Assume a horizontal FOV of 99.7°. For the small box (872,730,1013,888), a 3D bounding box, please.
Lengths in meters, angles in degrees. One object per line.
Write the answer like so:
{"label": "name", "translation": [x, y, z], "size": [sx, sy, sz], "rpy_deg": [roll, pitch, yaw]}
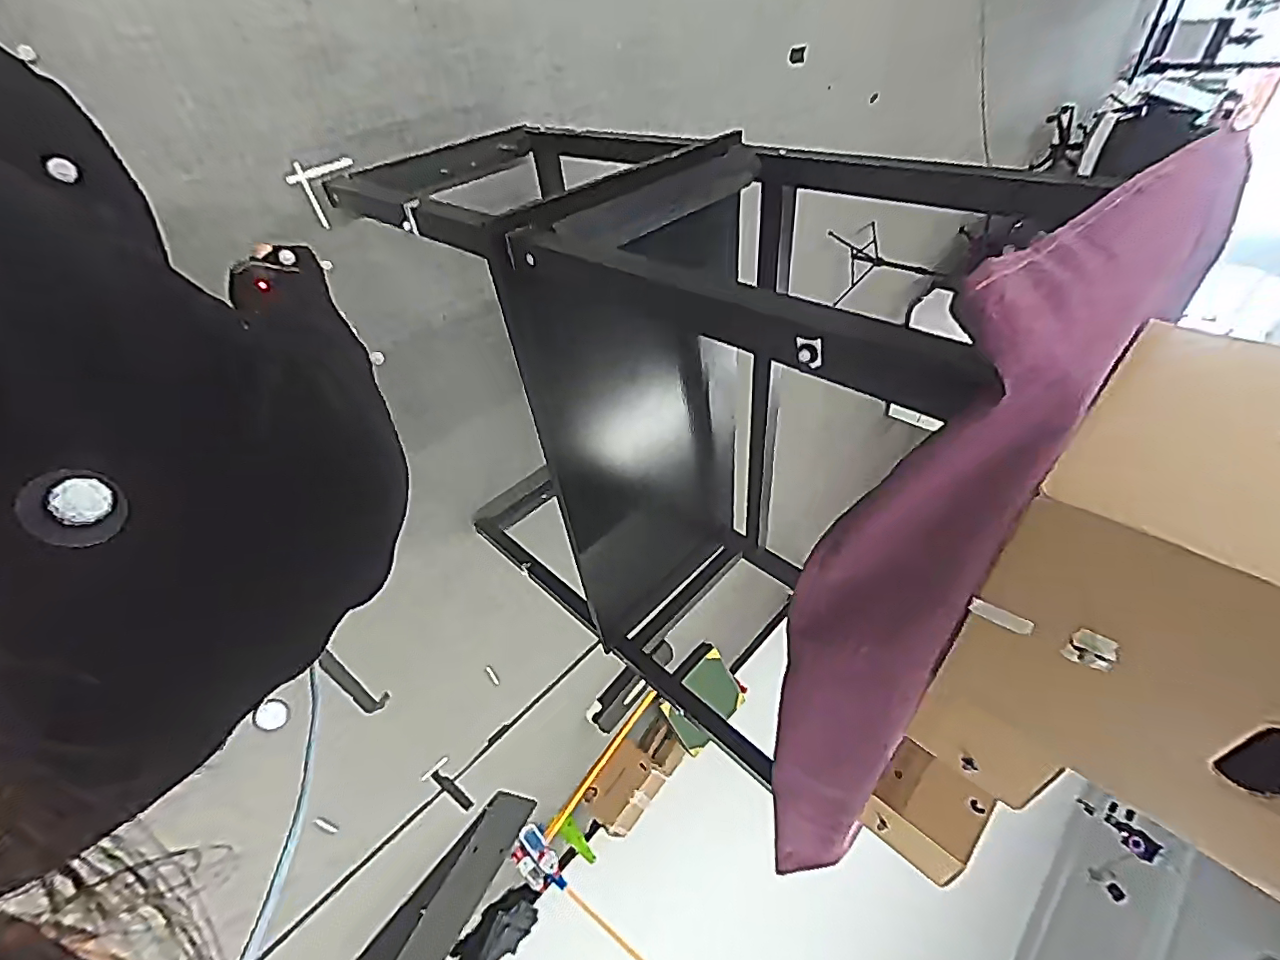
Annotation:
{"label": "small box", "translation": [0.560, 0.611, 1.017], "size": [0.168, 0.176, 0.179], "rpy_deg": [-40, 140, -28]}

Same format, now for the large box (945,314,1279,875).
{"label": "large box", "translation": [0.575, 0.077, 0.545], "size": [0.408, 0.320, 0.320], "rpy_deg": [-37, 140, -30]}

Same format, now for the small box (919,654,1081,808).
{"label": "small box", "translation": [0.536, 0.325, 0.790], "size": [0.168, 0.176, 0.179], "rpy_deg": [-38, 138, -30]}
